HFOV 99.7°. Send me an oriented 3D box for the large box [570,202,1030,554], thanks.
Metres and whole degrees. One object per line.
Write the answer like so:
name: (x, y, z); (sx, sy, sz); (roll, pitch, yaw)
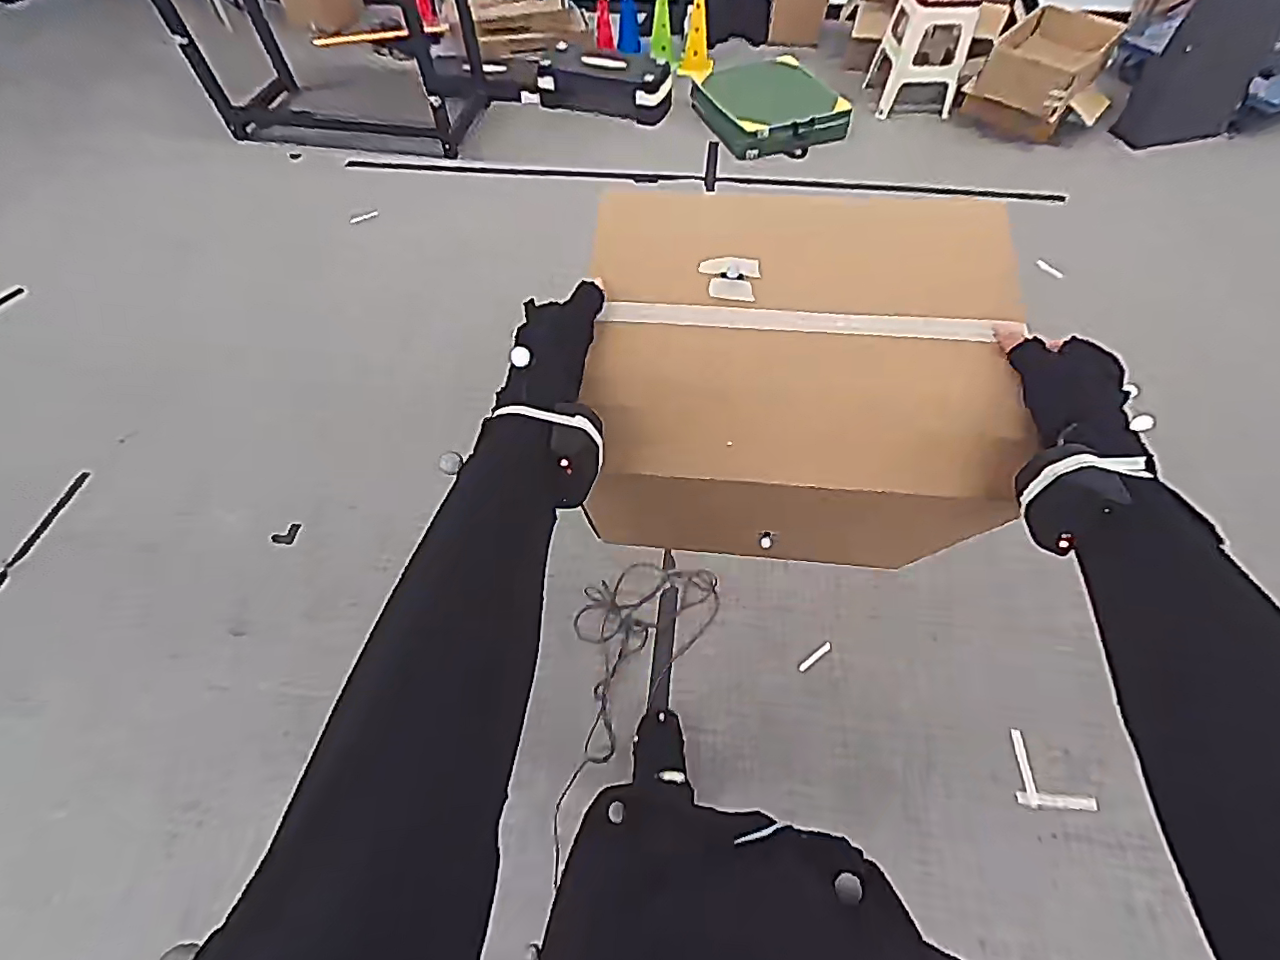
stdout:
large box: (0.157, -0.098, 0.658); (0.408, 0.320, 0.320); (4, 70, 5)
